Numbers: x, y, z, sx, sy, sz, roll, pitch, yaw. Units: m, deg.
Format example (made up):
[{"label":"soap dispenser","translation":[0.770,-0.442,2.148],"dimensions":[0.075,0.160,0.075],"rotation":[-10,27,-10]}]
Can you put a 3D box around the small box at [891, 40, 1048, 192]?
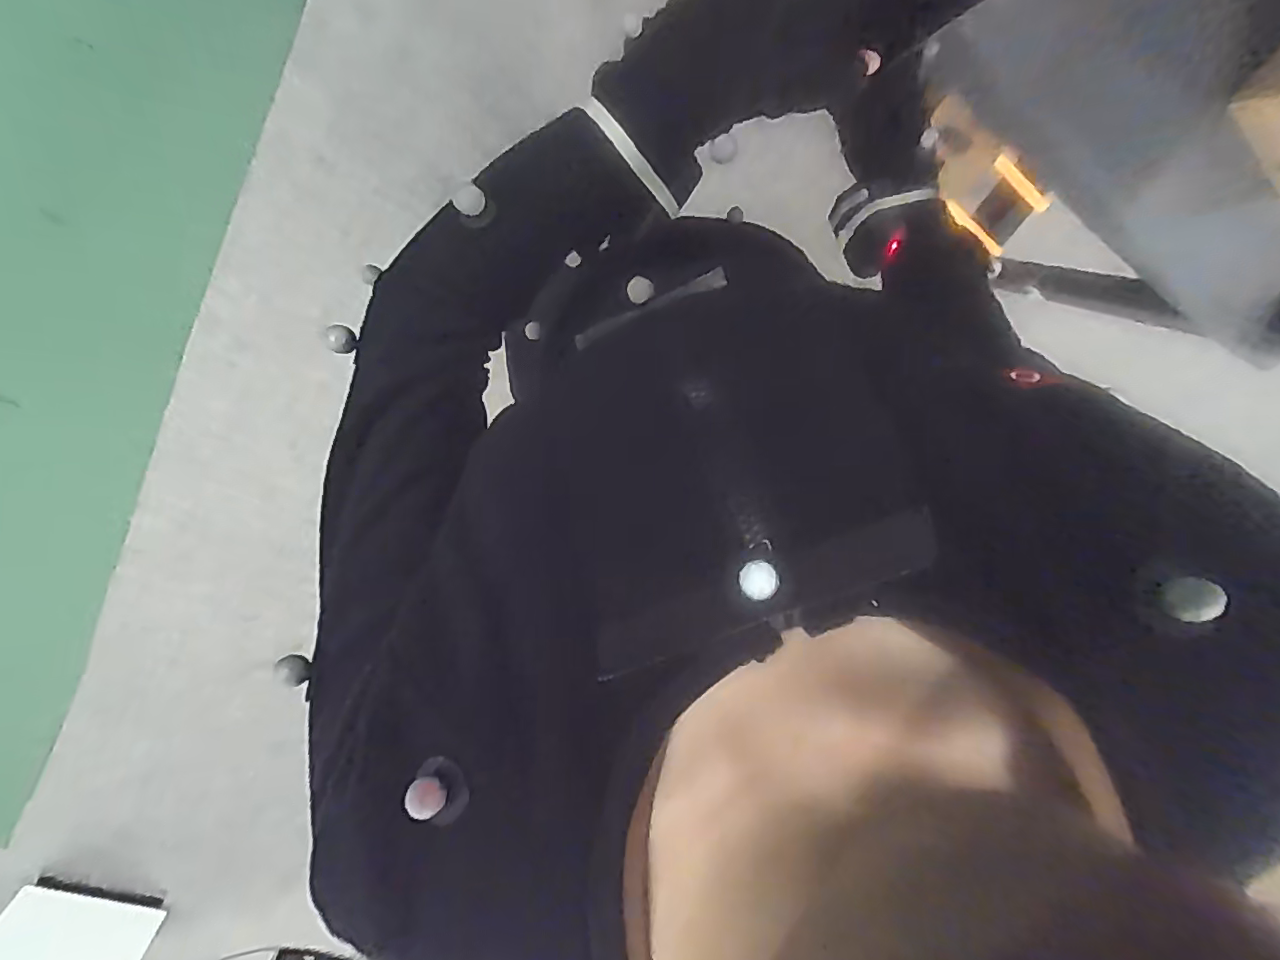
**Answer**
[{"label":"small box","translation":[0.625,-0.694,1.056],"dimensions":[0.168,0.176,0.179],"rotation":[32,111,-20]}]
